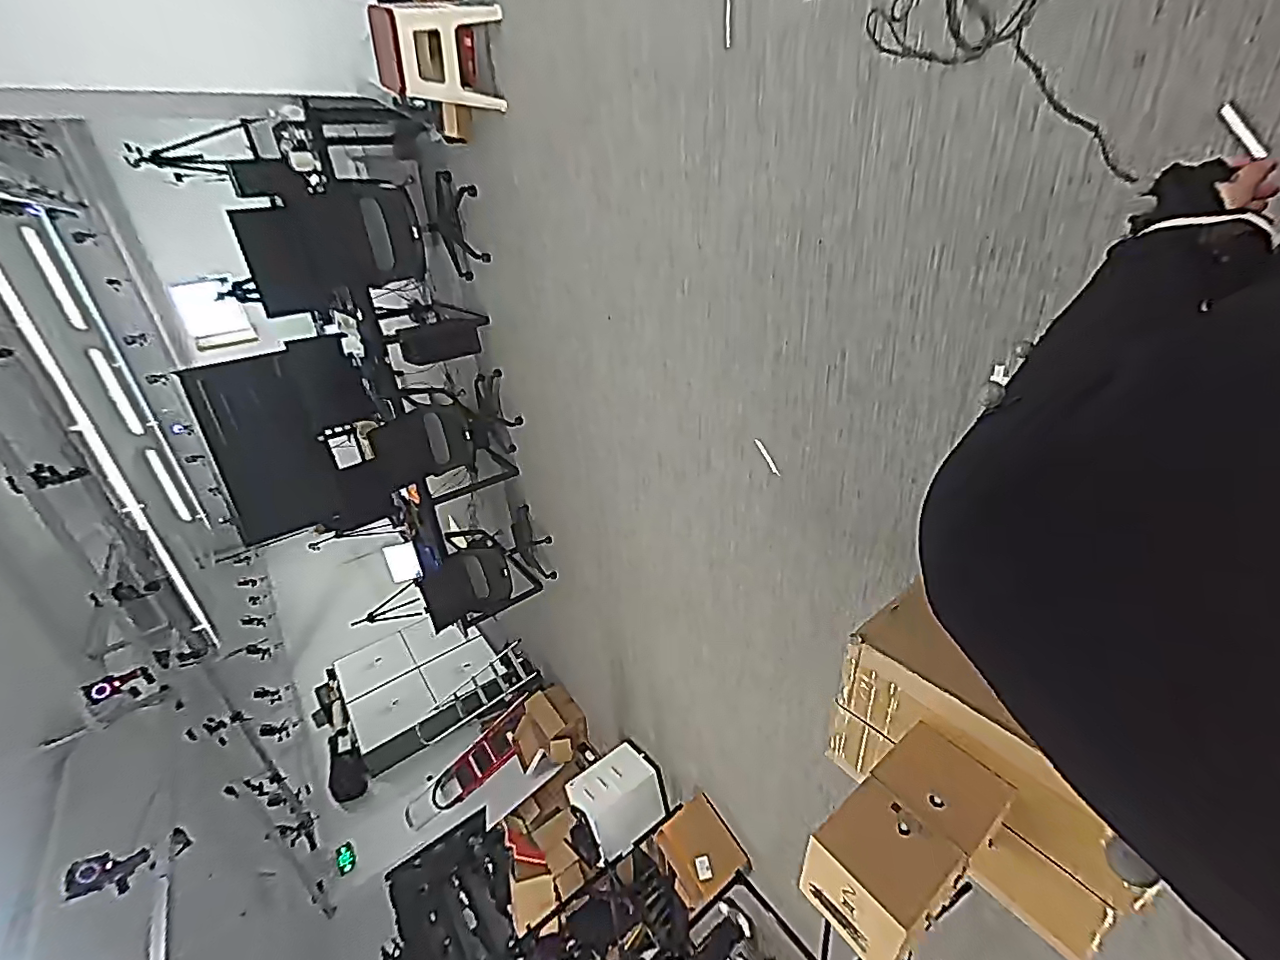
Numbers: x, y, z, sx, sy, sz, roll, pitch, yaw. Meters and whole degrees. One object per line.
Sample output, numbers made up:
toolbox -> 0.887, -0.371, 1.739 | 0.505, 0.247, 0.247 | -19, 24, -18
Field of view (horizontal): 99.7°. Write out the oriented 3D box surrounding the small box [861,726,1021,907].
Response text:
small box -> 0.528, 0.580, 0.954 | 0.179, 0.176, 0.168 | 33, 135, 46
